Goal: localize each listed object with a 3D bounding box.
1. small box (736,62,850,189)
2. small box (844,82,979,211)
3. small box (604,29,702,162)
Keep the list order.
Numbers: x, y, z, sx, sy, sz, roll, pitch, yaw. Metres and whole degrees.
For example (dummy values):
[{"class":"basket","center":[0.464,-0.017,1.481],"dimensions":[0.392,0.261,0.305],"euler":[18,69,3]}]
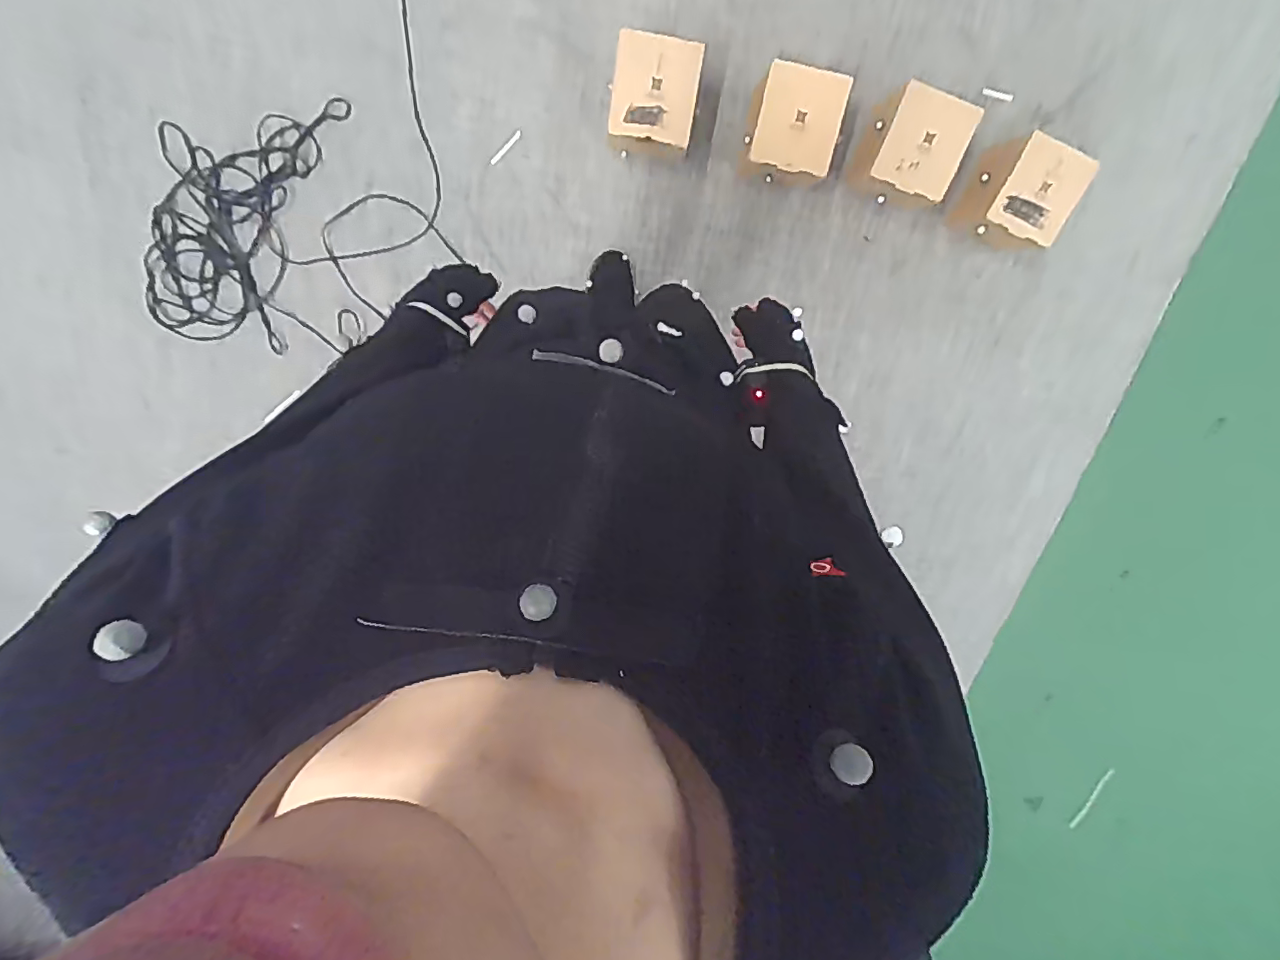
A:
[{"class":"small box","center":[0.310,-0.735,1.141],"dimensions":[0.168,0.176,0.179],"euler":[10,112,-4]},{"class":"small box","center":[0.564,-0.698,1.154],"dimensions":[0.168,0.176,0.179],"euler":[18,111,-6]},{"class":"small box","center":[0.024,-0.781,1.121],"dimensions":[0.168,0.176,0.179],"euler":[9,111,-4]}]
